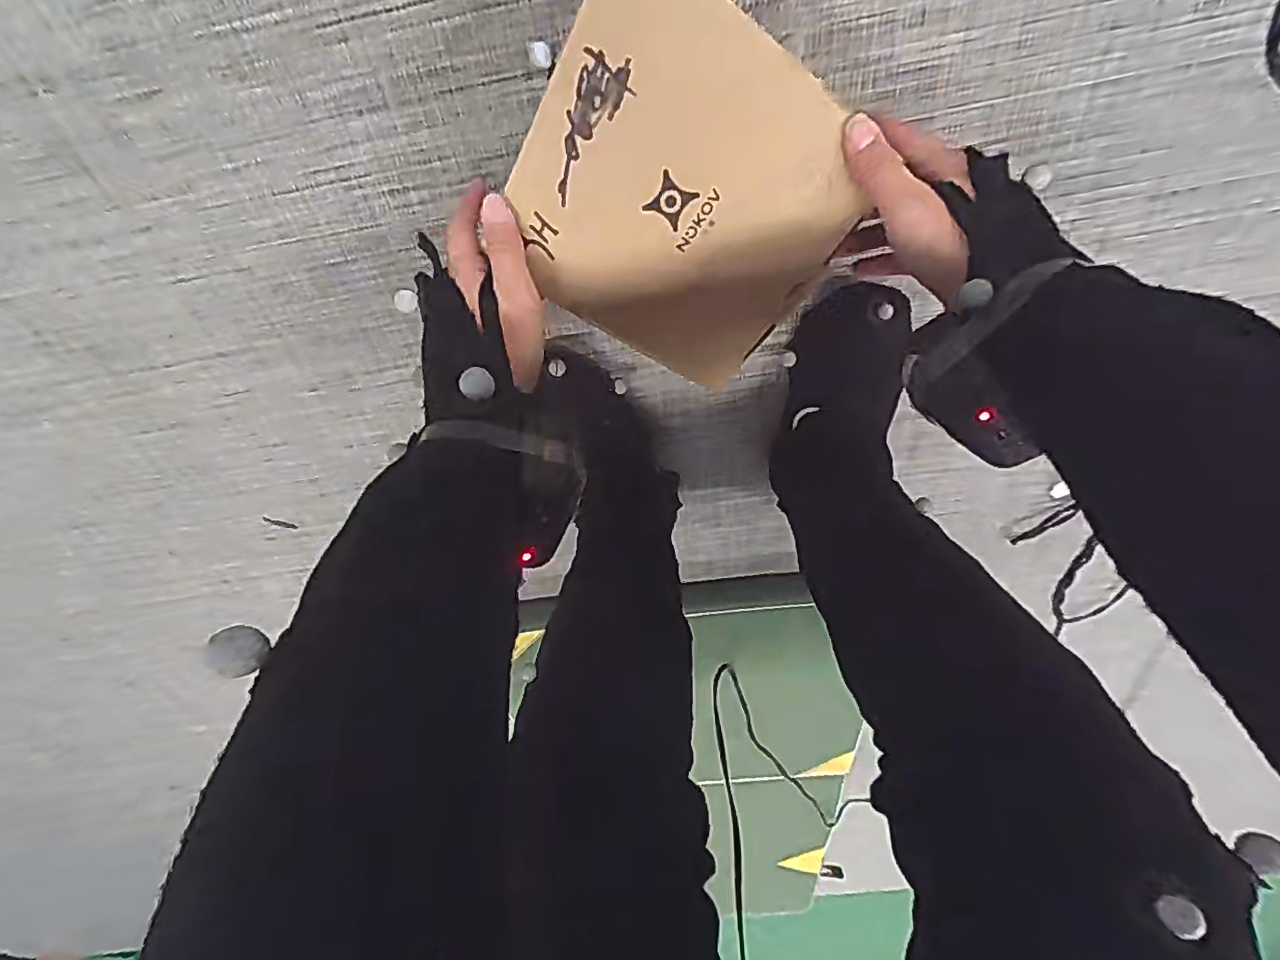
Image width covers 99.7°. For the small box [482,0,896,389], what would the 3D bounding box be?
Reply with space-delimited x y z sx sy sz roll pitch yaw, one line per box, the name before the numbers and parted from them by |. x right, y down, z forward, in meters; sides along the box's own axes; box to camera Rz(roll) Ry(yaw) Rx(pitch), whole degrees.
small box | 0.022 -0.200 0.359 0.179 0.176 0.168 26 125 -22
